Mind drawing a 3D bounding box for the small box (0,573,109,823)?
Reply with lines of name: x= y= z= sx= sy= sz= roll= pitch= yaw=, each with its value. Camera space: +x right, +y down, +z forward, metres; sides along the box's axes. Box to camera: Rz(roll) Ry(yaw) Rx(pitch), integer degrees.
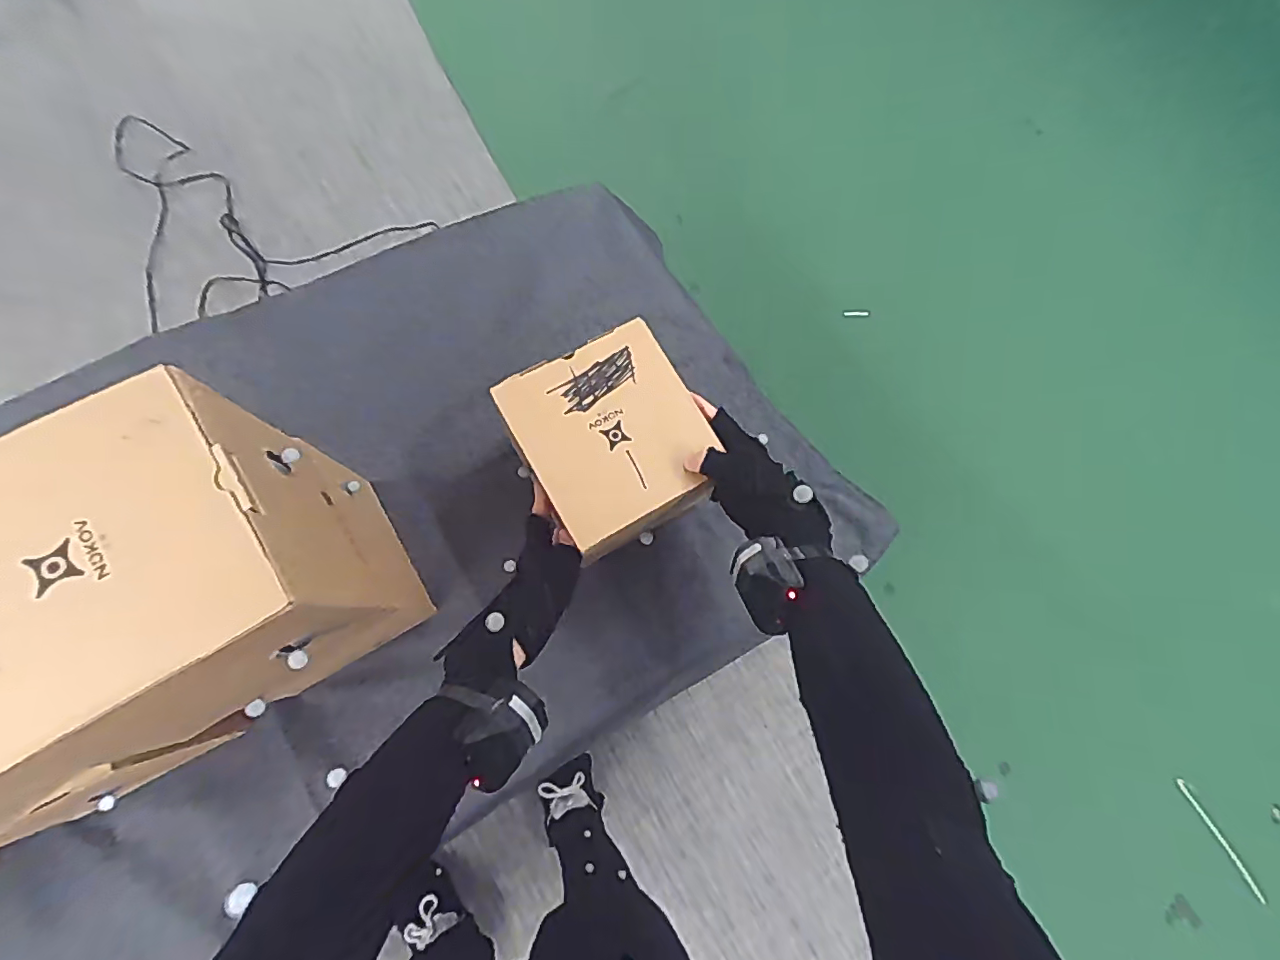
small box: x=-0.495 y=0.163 z=0.316 sx=0.179 sy=0.176 sz=0.168 roll=-35 pitch=83 yaw=-12
